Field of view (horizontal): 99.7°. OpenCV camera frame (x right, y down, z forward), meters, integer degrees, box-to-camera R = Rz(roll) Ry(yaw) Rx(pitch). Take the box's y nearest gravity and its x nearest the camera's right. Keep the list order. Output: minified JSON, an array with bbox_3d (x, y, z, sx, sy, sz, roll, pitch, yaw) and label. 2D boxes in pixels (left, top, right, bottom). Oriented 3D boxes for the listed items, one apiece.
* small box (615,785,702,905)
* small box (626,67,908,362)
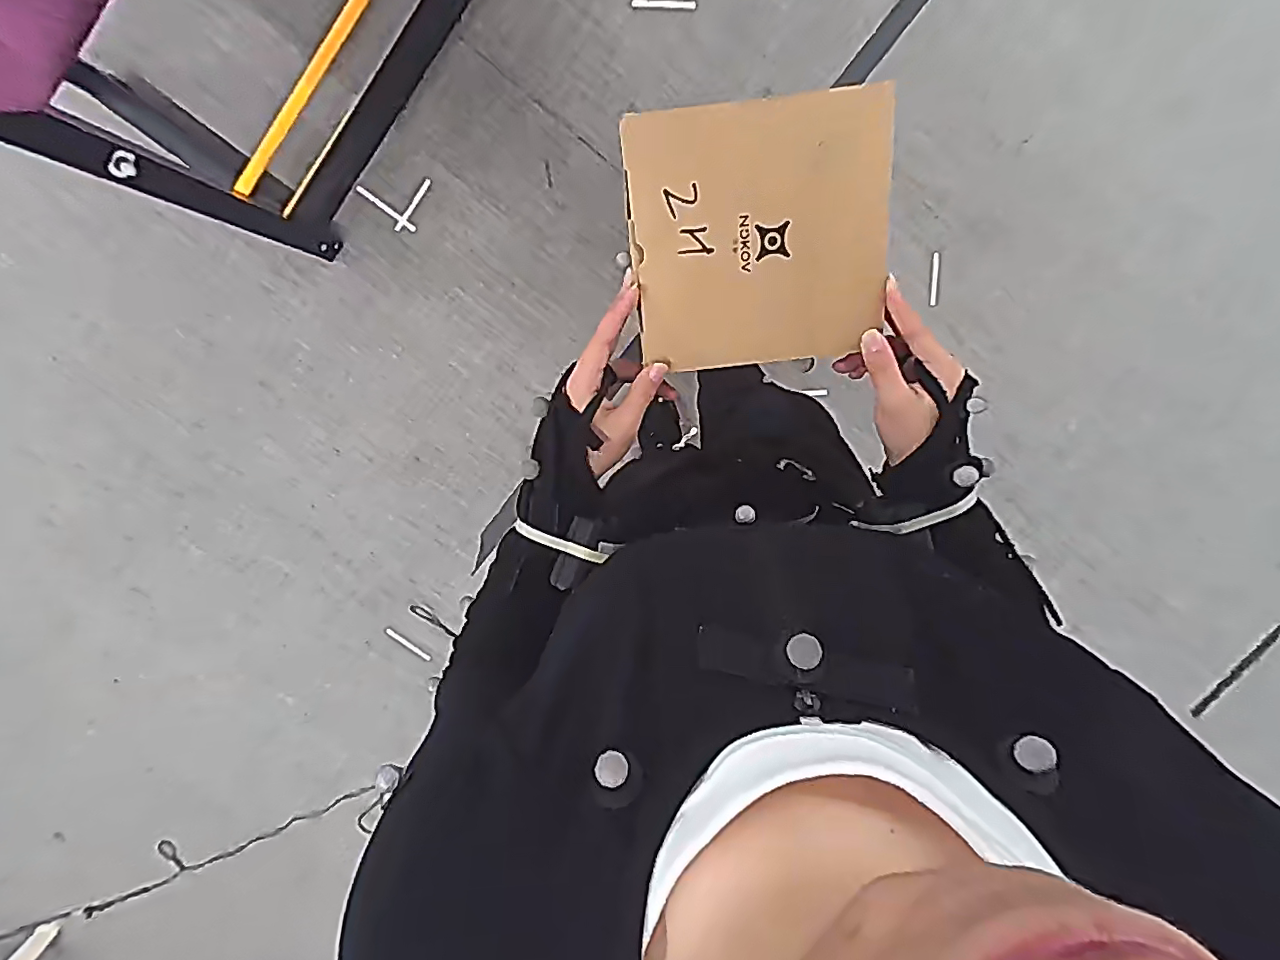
[{"bbox_3d":[0.048,0.985,1.469,0.168,0.176,0.179,31,98,-7],"label":"small box"},{"bbox_3d":[0.083,-0.196,0.432,0.179,0.176,0.168,-5,110,3],"label":"small box"}]
